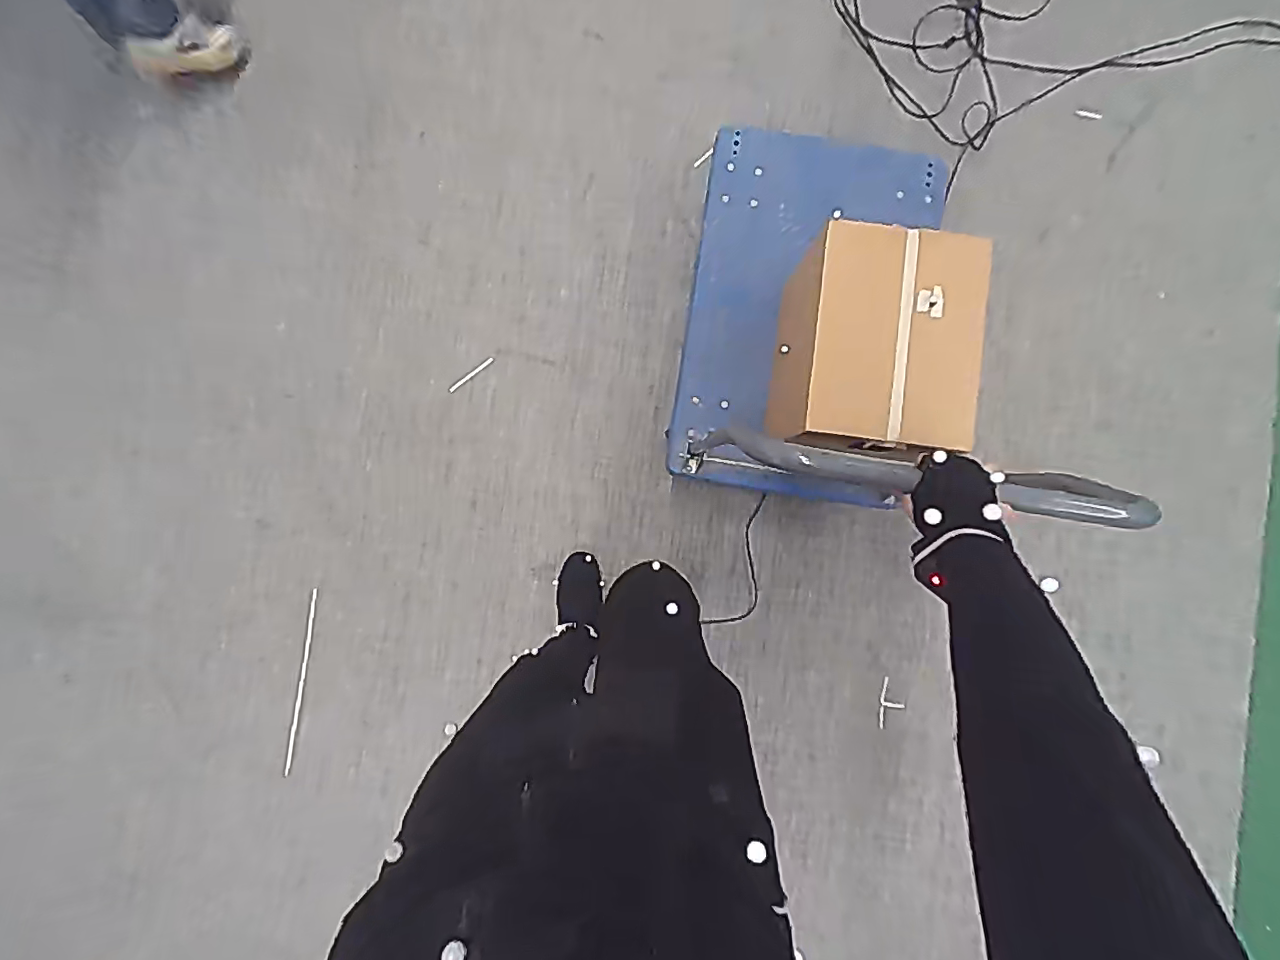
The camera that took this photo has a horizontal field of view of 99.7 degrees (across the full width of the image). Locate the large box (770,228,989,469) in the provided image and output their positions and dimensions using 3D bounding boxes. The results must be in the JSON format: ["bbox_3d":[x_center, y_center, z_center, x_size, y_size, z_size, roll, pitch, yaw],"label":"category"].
[{"bbox_3d":[0.479,-0.248,1.146,0.320,0.320,0.408,8,86,-2],"label":"large box"}]
